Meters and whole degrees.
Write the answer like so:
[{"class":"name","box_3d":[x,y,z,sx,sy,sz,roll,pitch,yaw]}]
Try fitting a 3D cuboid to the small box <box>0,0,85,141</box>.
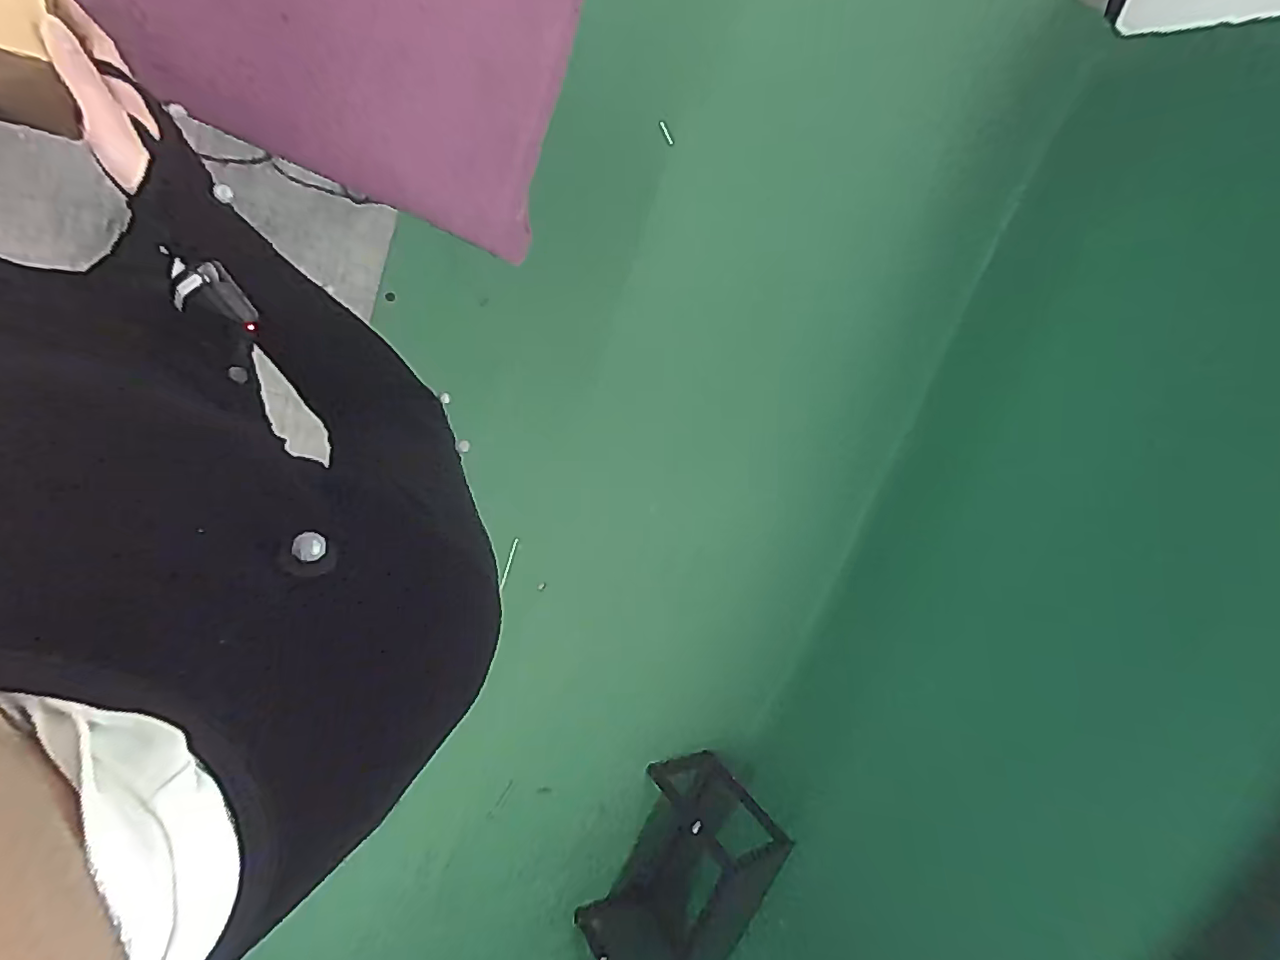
[{"class":"small box","box_3d":[-0.521,-0.381,0.378,0.168,0.176,0.179,-5,101,-40]}]
